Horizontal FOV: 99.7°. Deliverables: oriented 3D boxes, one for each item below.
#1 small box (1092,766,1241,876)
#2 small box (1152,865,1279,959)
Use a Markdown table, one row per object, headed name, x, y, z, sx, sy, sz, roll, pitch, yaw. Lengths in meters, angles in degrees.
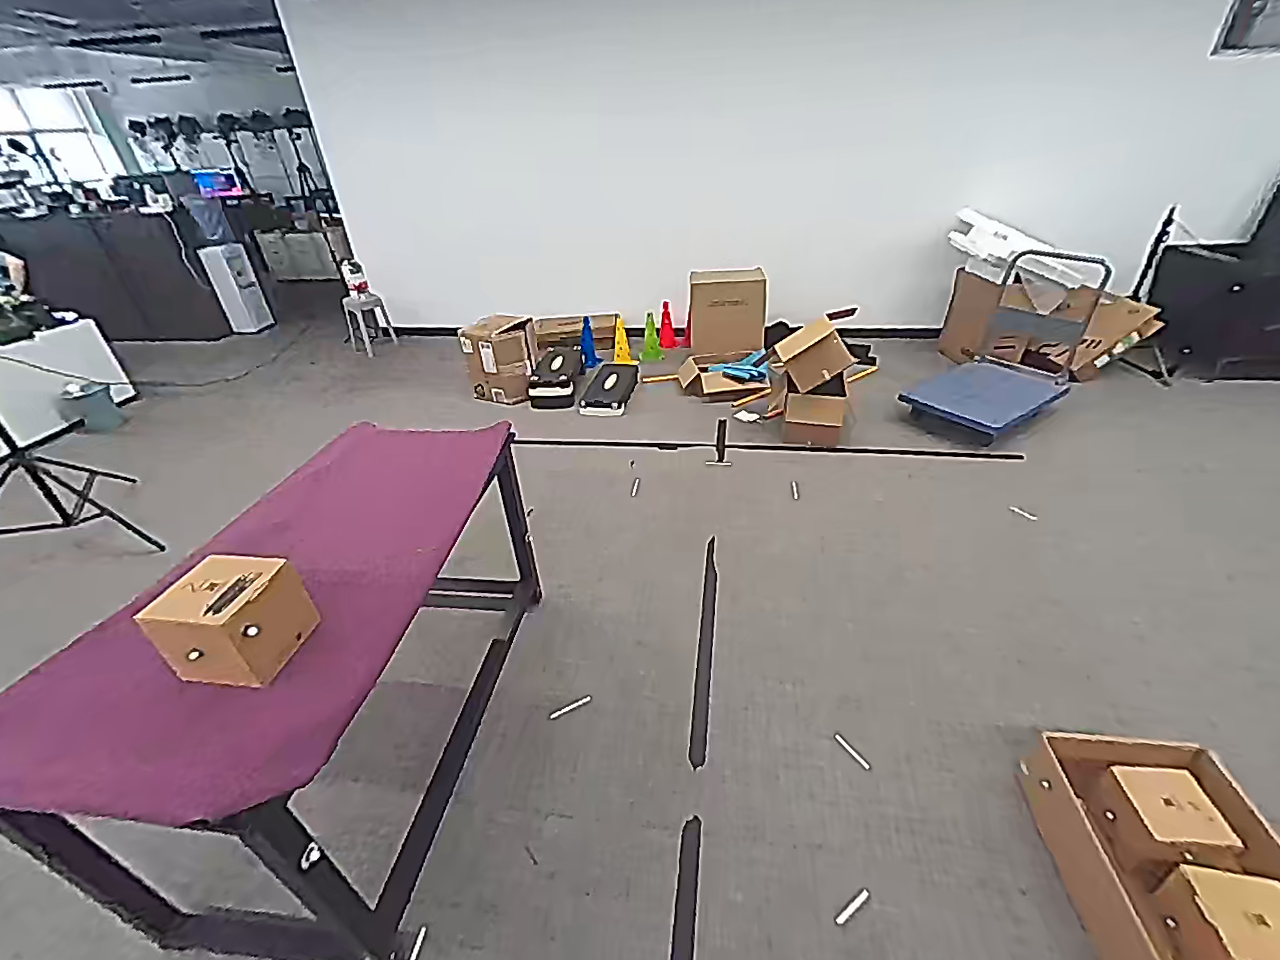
| name | x | y | z | sx | sy | sz | roll | pitch | yaw |
| --- | --- | --- | --- | --- | --- | --- | --- | --- | --- |
| small box | 1.220 | 0.806 | 1.277 | 0.179 | 0.176 | 0.168 | 1 | 35 | 6 |
| small box | 1.213 | 0.926 | 1.096 | 0.179 | 0.176 | 0.168 | 4 | 33 | 12 |
